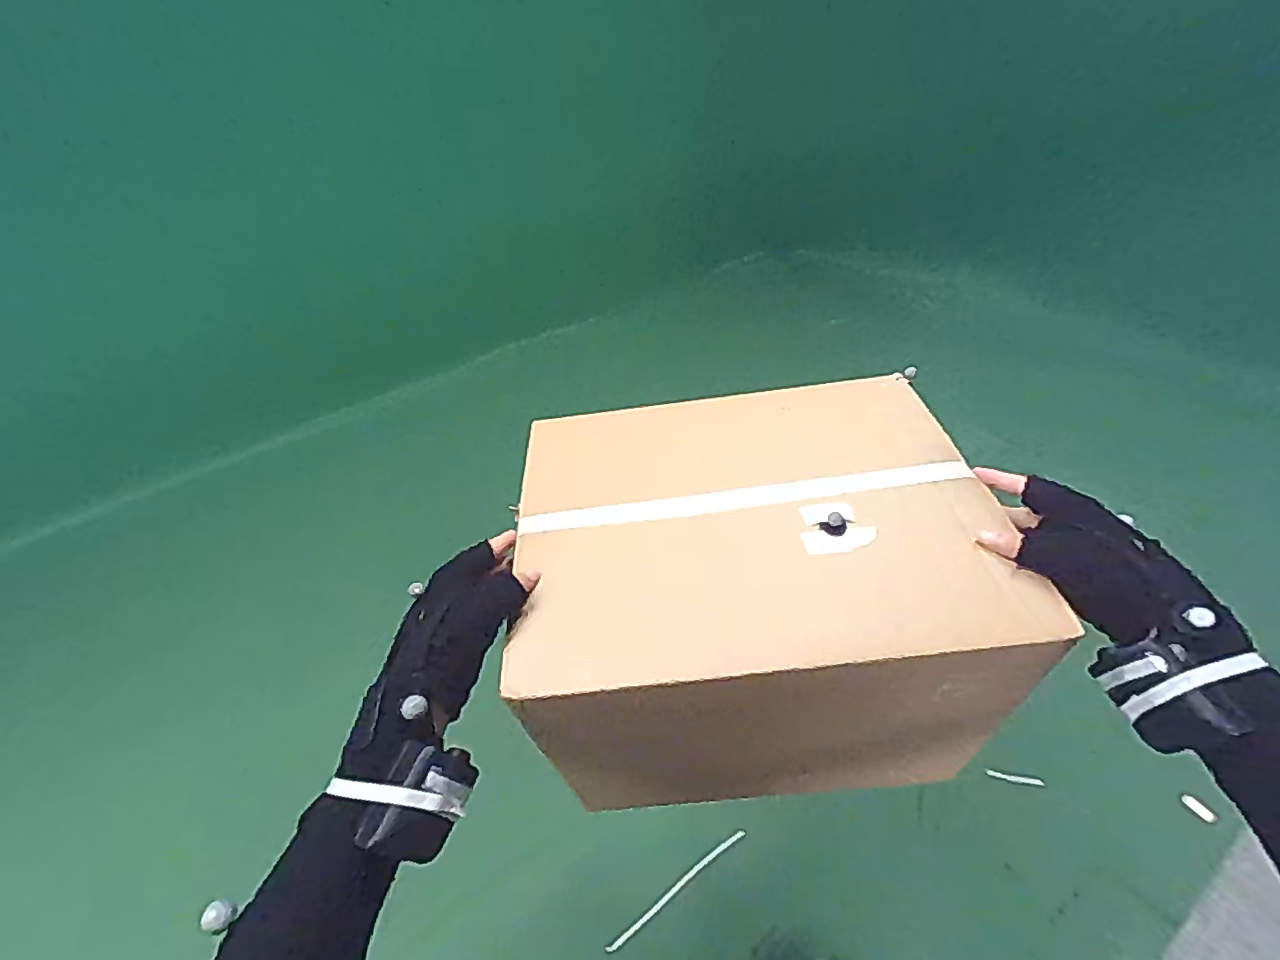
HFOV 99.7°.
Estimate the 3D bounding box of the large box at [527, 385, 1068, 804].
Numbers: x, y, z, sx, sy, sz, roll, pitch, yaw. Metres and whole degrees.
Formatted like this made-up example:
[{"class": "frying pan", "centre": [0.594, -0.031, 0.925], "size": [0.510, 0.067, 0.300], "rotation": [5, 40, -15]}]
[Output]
[{"class": "large box", "centre": [0.117, 0.129, 0.599], "size": [0.408, 0.320, 0.320], "rotation": [-6, 45, 2]}]
